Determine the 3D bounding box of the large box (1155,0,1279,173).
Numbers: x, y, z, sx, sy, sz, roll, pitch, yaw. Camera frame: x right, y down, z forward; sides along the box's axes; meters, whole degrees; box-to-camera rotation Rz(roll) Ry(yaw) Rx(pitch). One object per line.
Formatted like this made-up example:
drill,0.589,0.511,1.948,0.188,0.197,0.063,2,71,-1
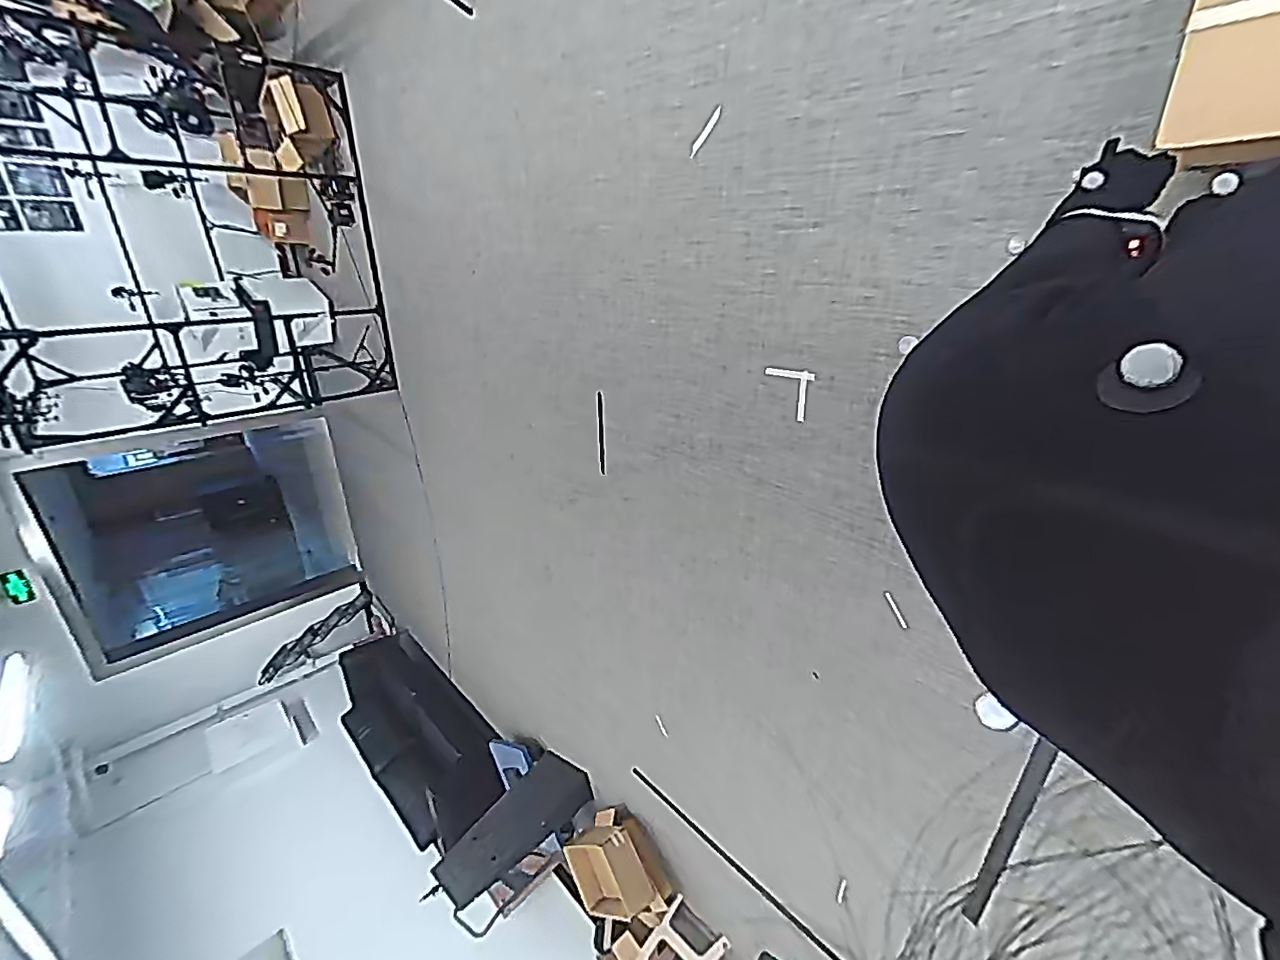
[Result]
large box,1.016,-0.626,0.725,0.408,0.320,0.320,20,121,42
